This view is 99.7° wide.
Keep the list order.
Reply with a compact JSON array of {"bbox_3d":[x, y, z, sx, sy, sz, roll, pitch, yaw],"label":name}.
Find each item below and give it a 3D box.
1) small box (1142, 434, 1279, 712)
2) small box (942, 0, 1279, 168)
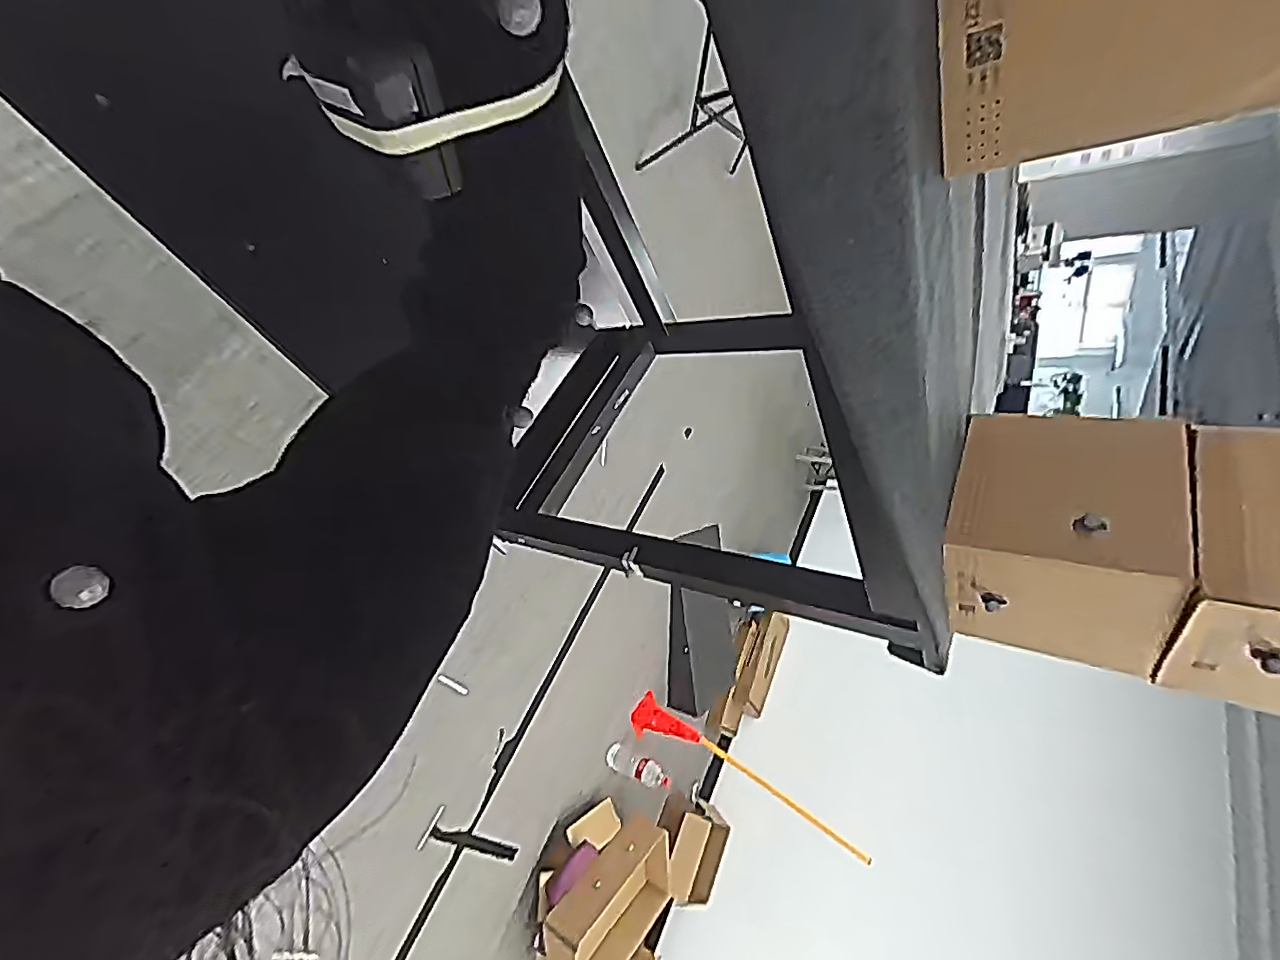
[{"bbox_3d":[0.536,0.078,0.436,0.179,0.176,0.168,-60,138,-27],"label":"small box"},{"bbox_3d":[0.244,-0.280,0.250,0.168,0.176,0.179,56,51,-43],"label":"small box"}]
